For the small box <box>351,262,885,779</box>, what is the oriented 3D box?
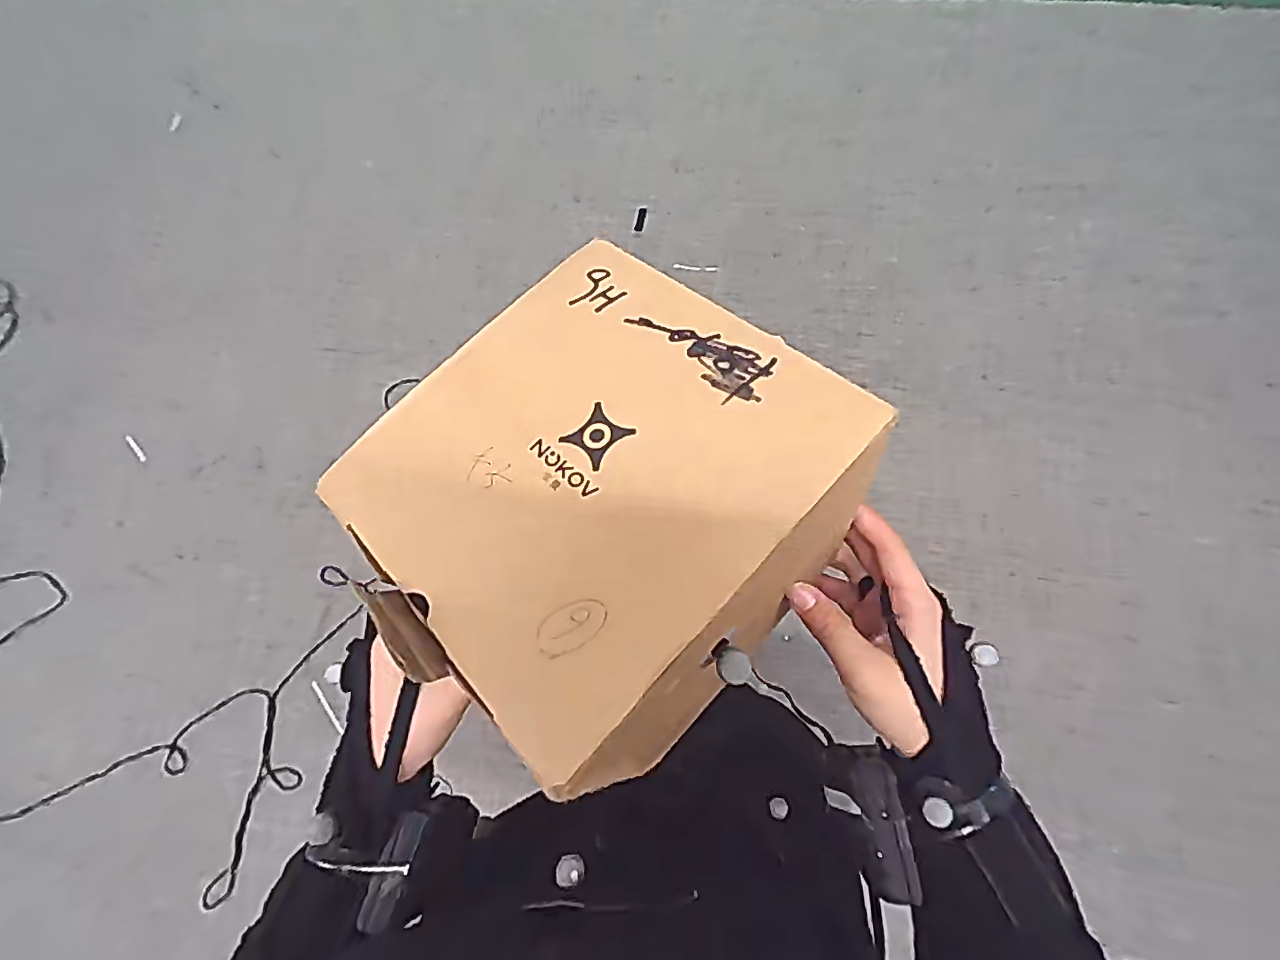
[{"bbox_3d":[-0.002,0.028,0.296,0.168,0.176,0.179,40,78,25],"label":"small box"}]
